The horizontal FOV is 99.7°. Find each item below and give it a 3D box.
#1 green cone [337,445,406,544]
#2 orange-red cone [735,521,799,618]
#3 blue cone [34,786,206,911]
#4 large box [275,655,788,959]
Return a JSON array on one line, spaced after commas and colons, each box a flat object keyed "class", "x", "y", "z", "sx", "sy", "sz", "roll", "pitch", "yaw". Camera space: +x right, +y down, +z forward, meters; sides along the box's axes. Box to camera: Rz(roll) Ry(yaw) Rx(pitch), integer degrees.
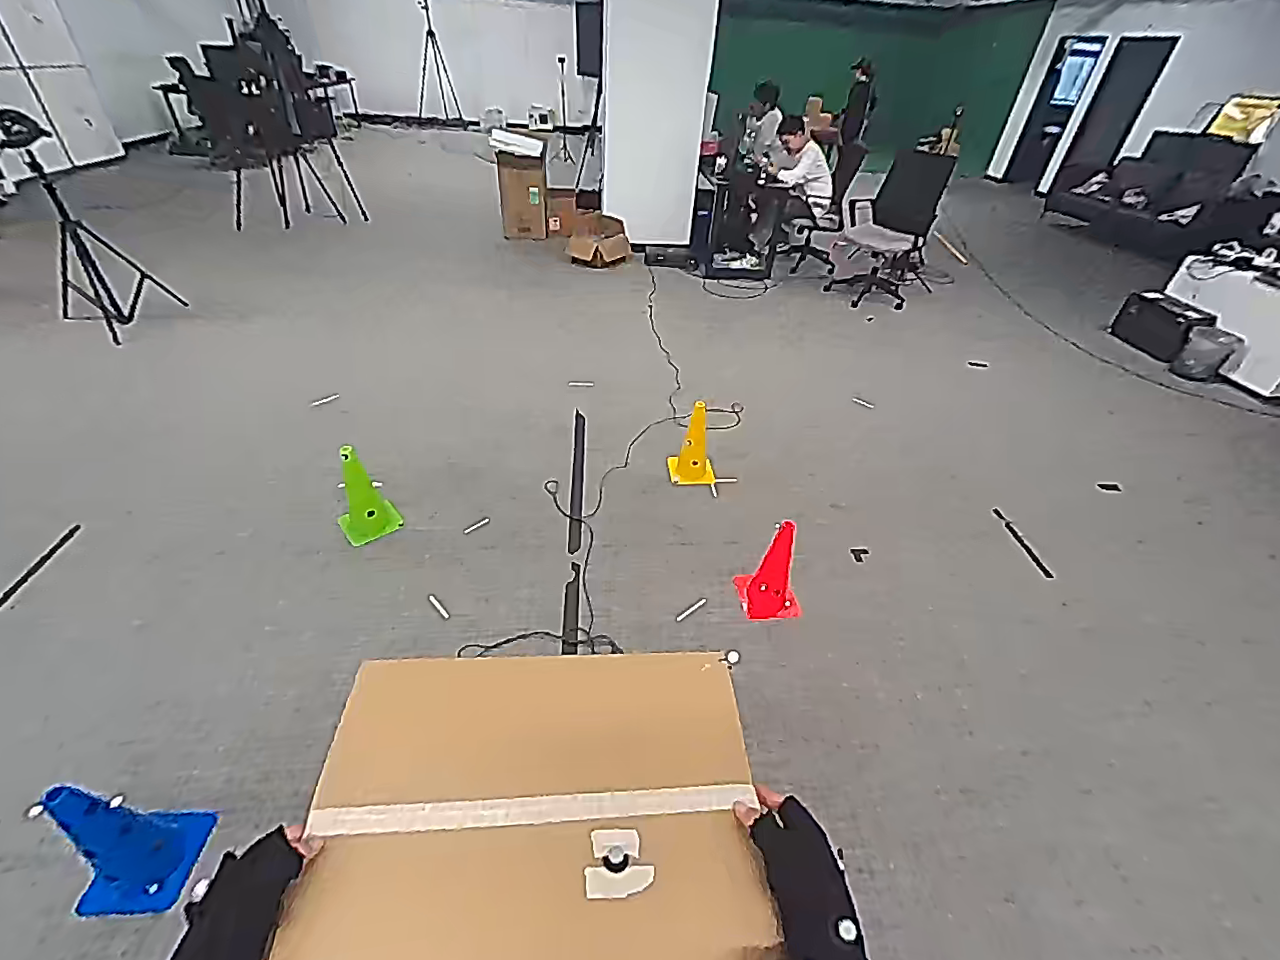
[{"class": "green cone", "x": -1.043, "y": 0.024, "z": 2.010, "sx": 0.202, "sy": 0.368, "sz": 0.200, "roll": -28, "pitch": 48, "yaw": -32}, {"class": "orange-red cone", "x": 0.463, "y": 0.280, "z": 1.833, "sx": 0.198, "sy": 0.360, "sz": 0.199, "roll": -1, "pitch": 37, "yaw": -8}, {"class": "blue cone", "x": -1.119, "y": 0.739, "z": 1.136, "sx": 0.192, "sy": 0.380, "sz": 0.193, "roll": 1, "pitch": 38, "yaw": -2}, {"class": "large box", "x": -0.103, "y": 0.418, "z": 0.598, "sx": 0.408, "sy": 0.320, "sz": 0.320, "roll": 1, "pitch": 42, "yaw": -7}]
